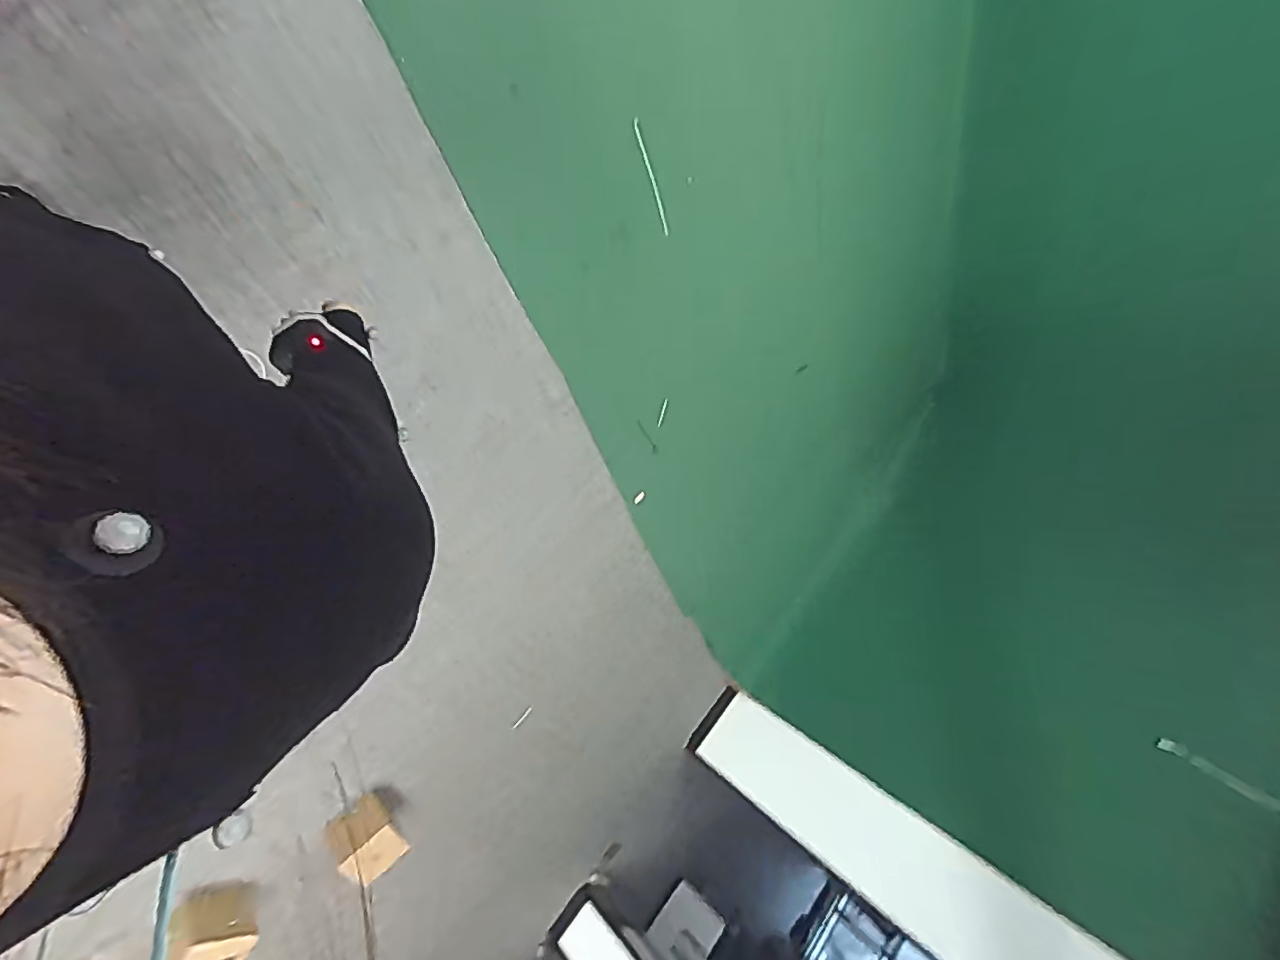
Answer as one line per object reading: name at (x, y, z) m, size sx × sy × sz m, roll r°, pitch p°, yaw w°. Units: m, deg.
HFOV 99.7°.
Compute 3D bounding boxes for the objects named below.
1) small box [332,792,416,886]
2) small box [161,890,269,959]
small box at (-0.883, 1.186, 1.797) m, size 0.168 × 0.176 × 0.179 m, roll -36°, pitch 131°, yaw -30°
small box at (-1.199, 1.300, 1.523) m, size 0.179 × 0.176 × 0.168 m, roll 39°, pitch 78°, yaw -47°
